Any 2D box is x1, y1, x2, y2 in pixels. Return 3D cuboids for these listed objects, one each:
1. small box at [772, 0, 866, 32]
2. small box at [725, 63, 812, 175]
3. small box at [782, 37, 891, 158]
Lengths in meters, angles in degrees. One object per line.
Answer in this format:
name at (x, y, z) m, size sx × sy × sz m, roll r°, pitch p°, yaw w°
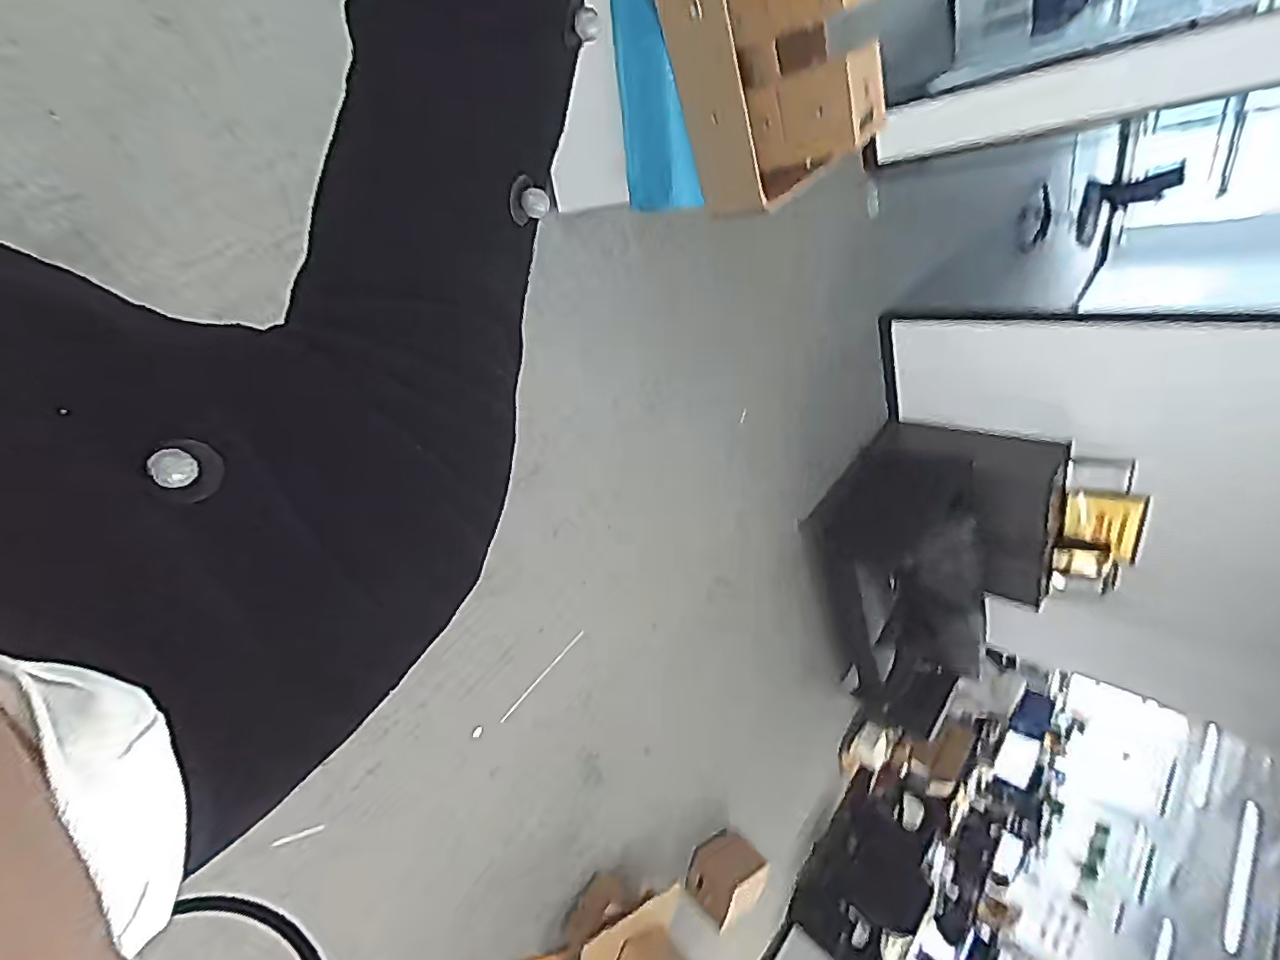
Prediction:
small box at (0.377, -1.065, 1.108) m, size 0.168 × 0.176 × 0.179 m, roll -44°, pitch 132°, yaw -28°
small box at (0.333, -0.893, 1.349) m, size 0.168 × 0.176 × 0.179 m, roll -43°, pitch 128°, yaw -28°
small box at (0.449, -0.862, 1.237) m, size 0.168 × 0.176 × 0.179 m, roll -45°, pitch 128°, yaw -28°
